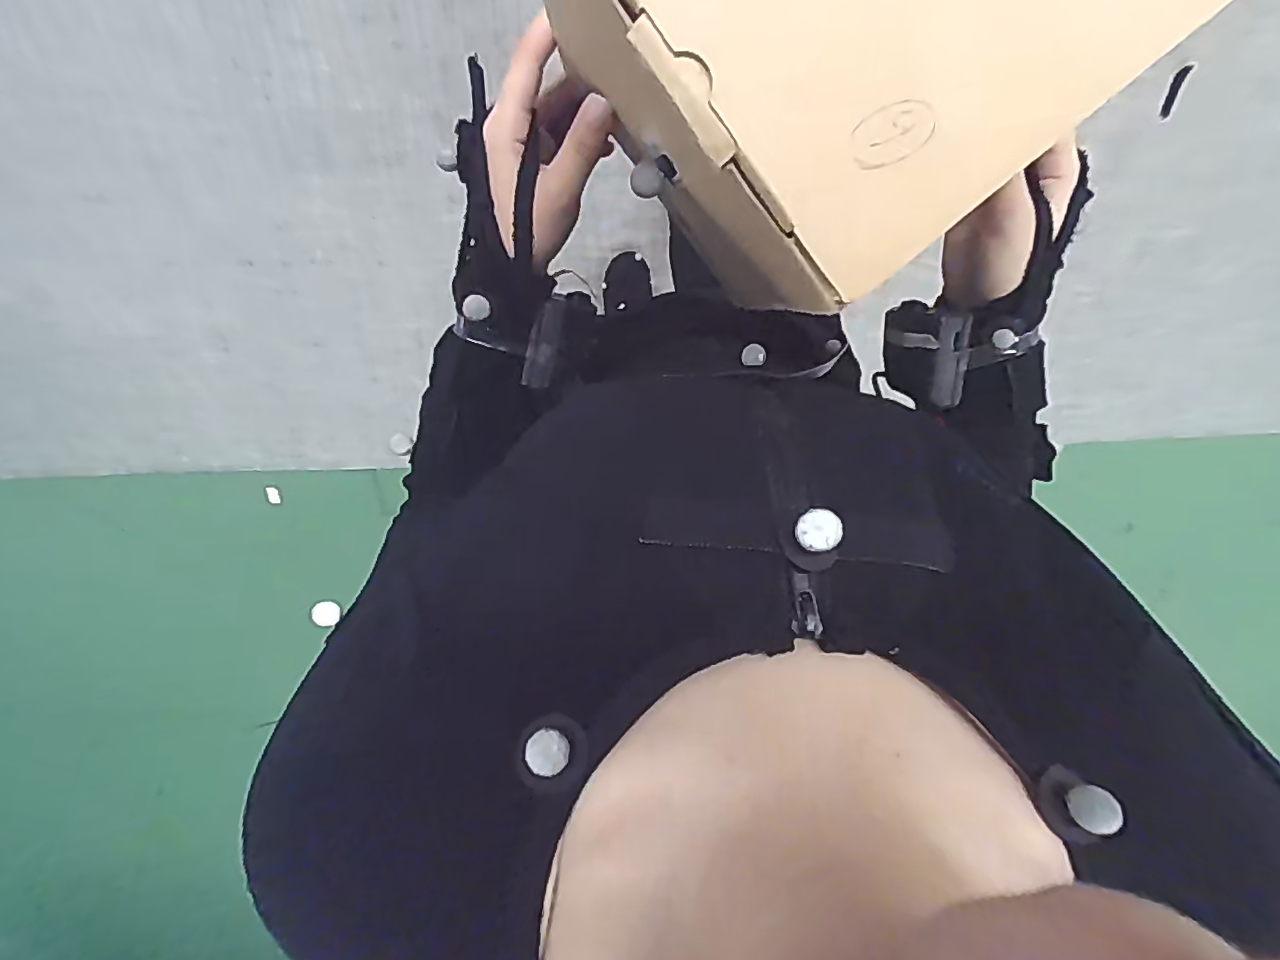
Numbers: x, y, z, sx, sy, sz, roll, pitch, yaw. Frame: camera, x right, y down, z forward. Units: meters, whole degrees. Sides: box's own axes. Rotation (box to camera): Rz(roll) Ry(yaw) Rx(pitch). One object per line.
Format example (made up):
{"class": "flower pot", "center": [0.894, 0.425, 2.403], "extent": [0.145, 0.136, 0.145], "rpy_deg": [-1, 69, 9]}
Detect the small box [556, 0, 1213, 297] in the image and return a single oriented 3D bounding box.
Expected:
{"class": "small box", "center": [0.076, -0.192, 0.219], "extent": [0.179, 0.176, 0.168], "rpy_deg": [-38, 104, 11]}
